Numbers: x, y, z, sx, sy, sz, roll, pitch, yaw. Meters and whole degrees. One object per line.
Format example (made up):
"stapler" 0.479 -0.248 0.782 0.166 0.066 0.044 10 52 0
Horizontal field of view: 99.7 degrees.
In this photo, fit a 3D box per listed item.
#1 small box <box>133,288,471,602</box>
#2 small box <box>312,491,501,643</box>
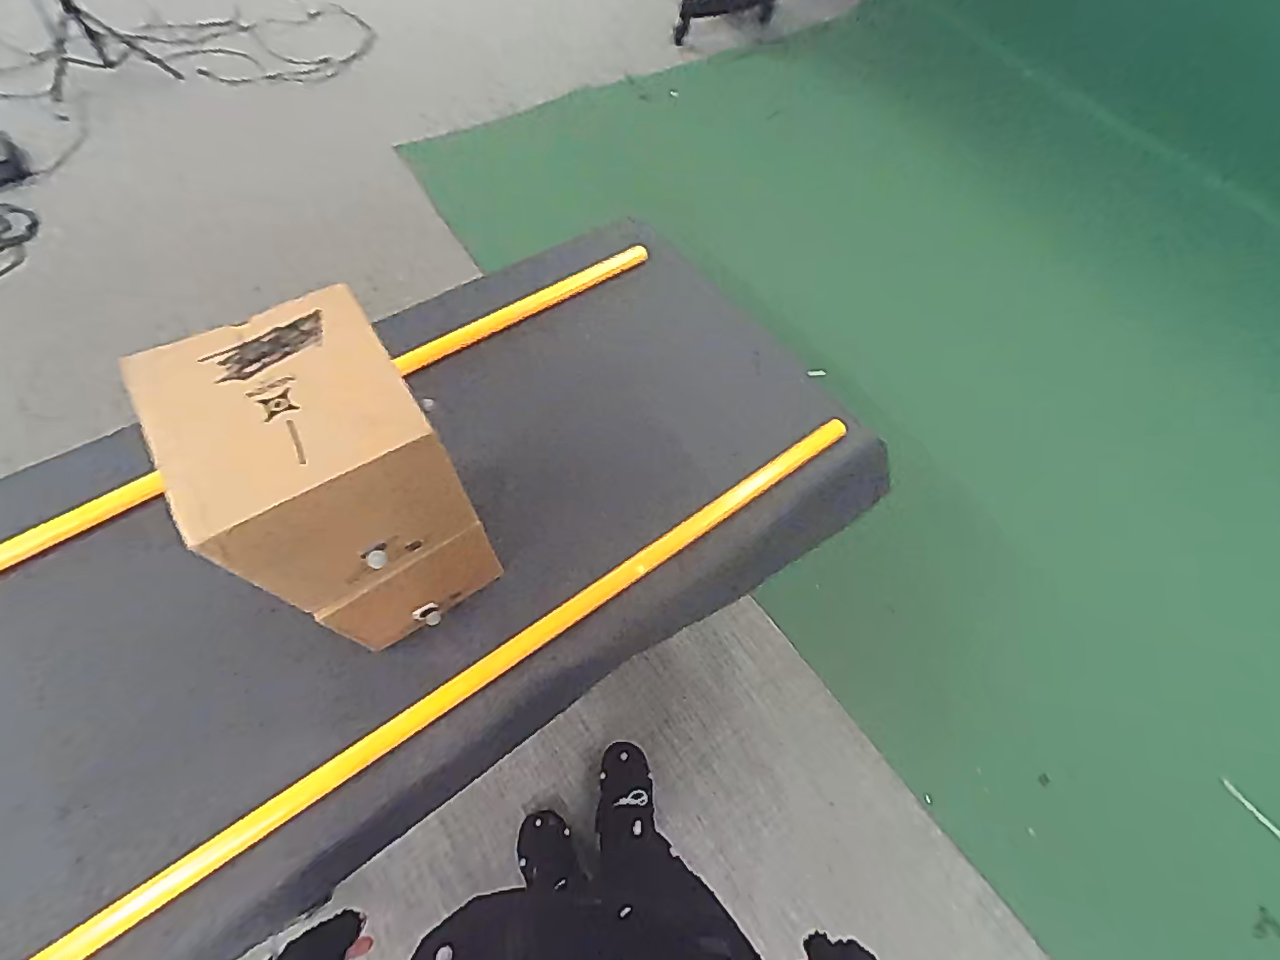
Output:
"small box" -0.270 -0.023 0.468 0.168 0.176 0.179 -30 69 -18
"small box" -0.280 0.058 0.611 0.168 0.176 0.179 -34 71 -19
